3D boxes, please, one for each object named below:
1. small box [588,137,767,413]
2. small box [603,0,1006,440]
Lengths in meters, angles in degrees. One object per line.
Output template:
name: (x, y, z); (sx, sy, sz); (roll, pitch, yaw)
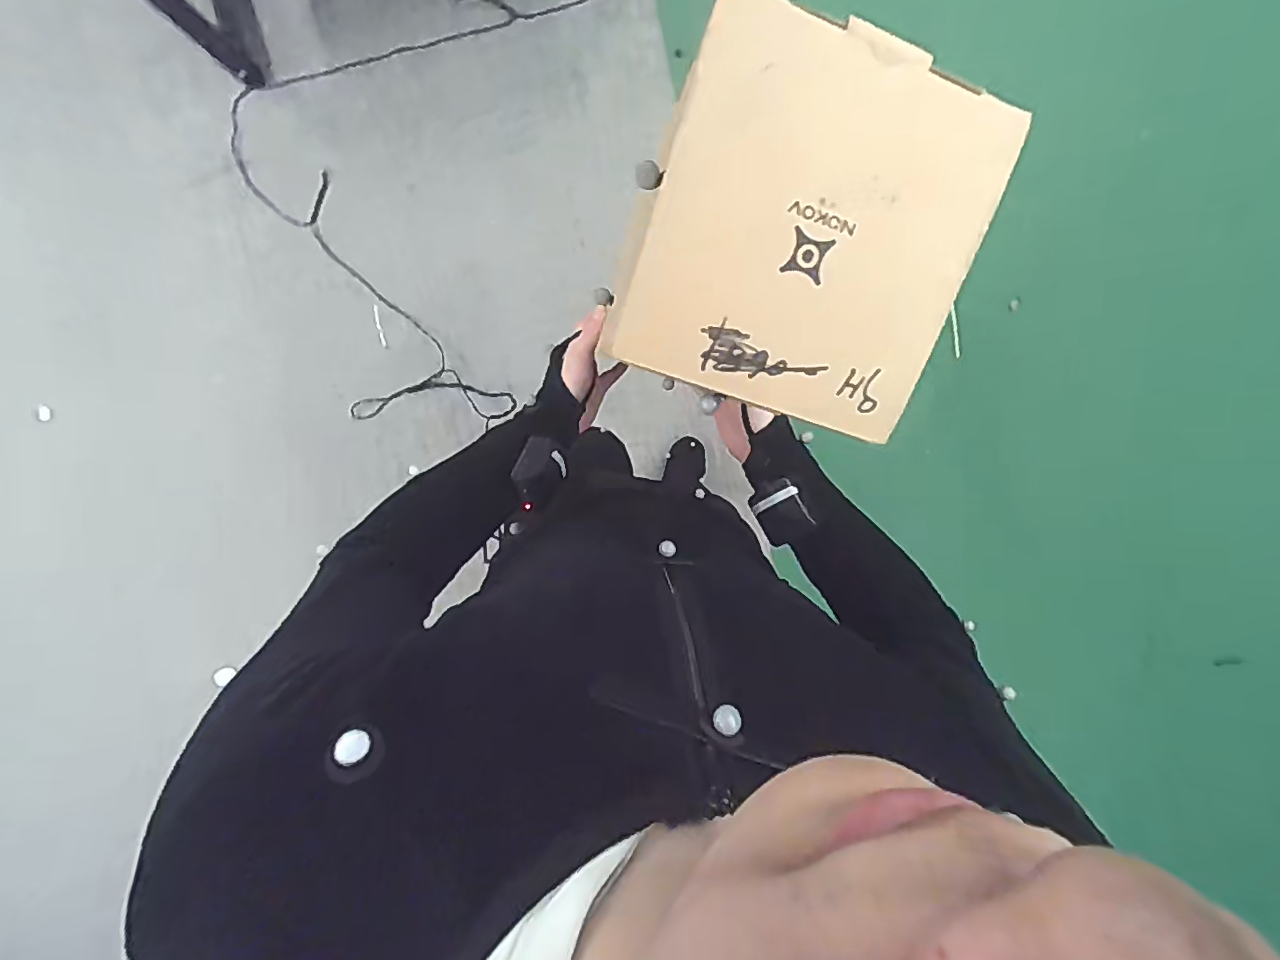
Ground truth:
small box: (0.055, -0.181, 0.510); (0.168, 0.176, 0.179); (17, 104, -10)
small box: (0.074, -0.145, 0.351); (0.168, 0.176, 0.179); (16, 104, -9)
